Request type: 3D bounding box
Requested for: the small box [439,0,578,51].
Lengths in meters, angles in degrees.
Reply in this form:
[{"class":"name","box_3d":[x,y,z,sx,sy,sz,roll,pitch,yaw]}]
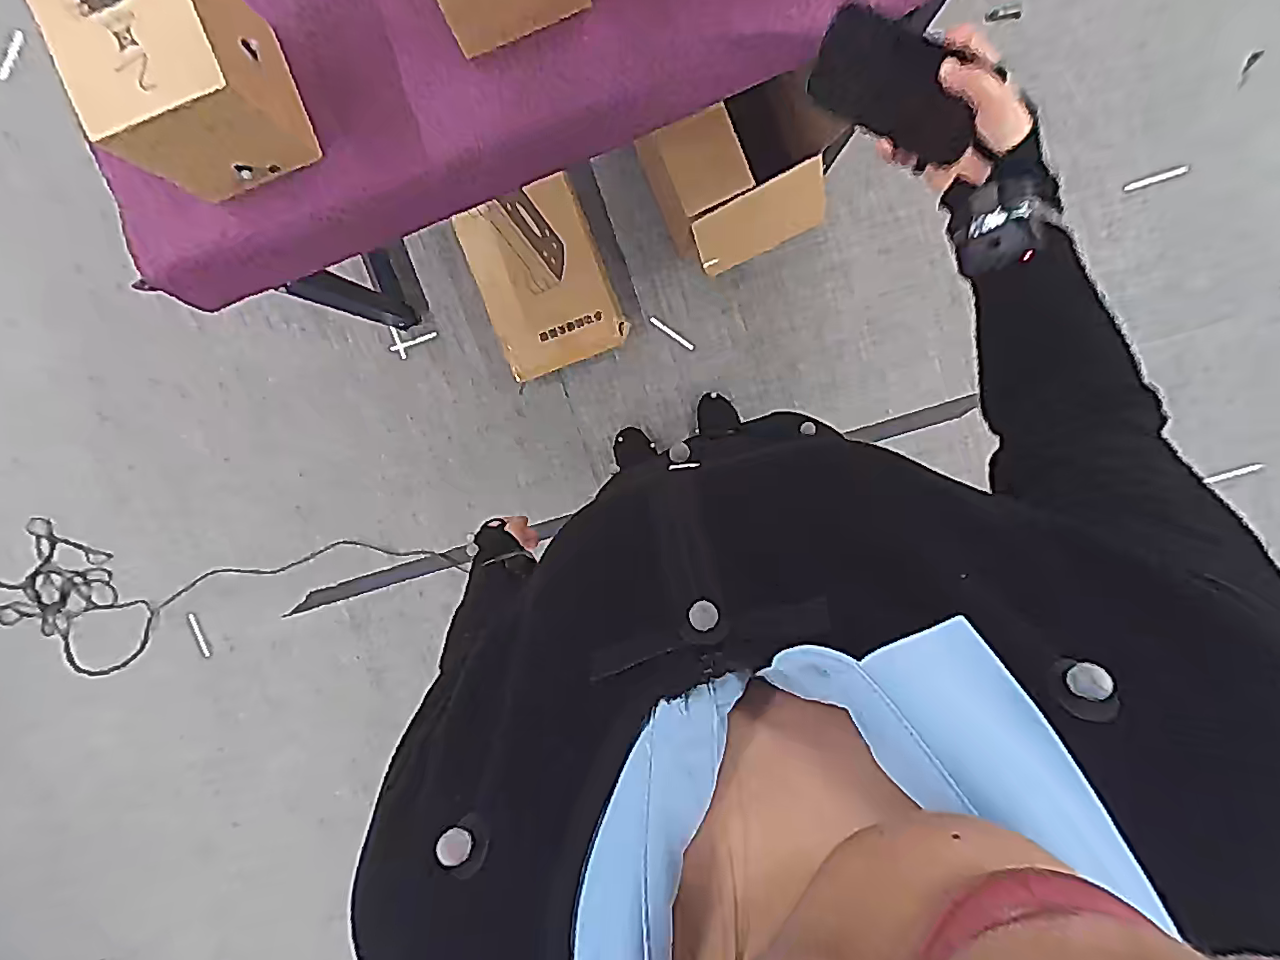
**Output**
[{"class":"small box","box_3d":[-0.169,-0.637,0.598,0.179,0.176,0.168,-20,94,4]}]
